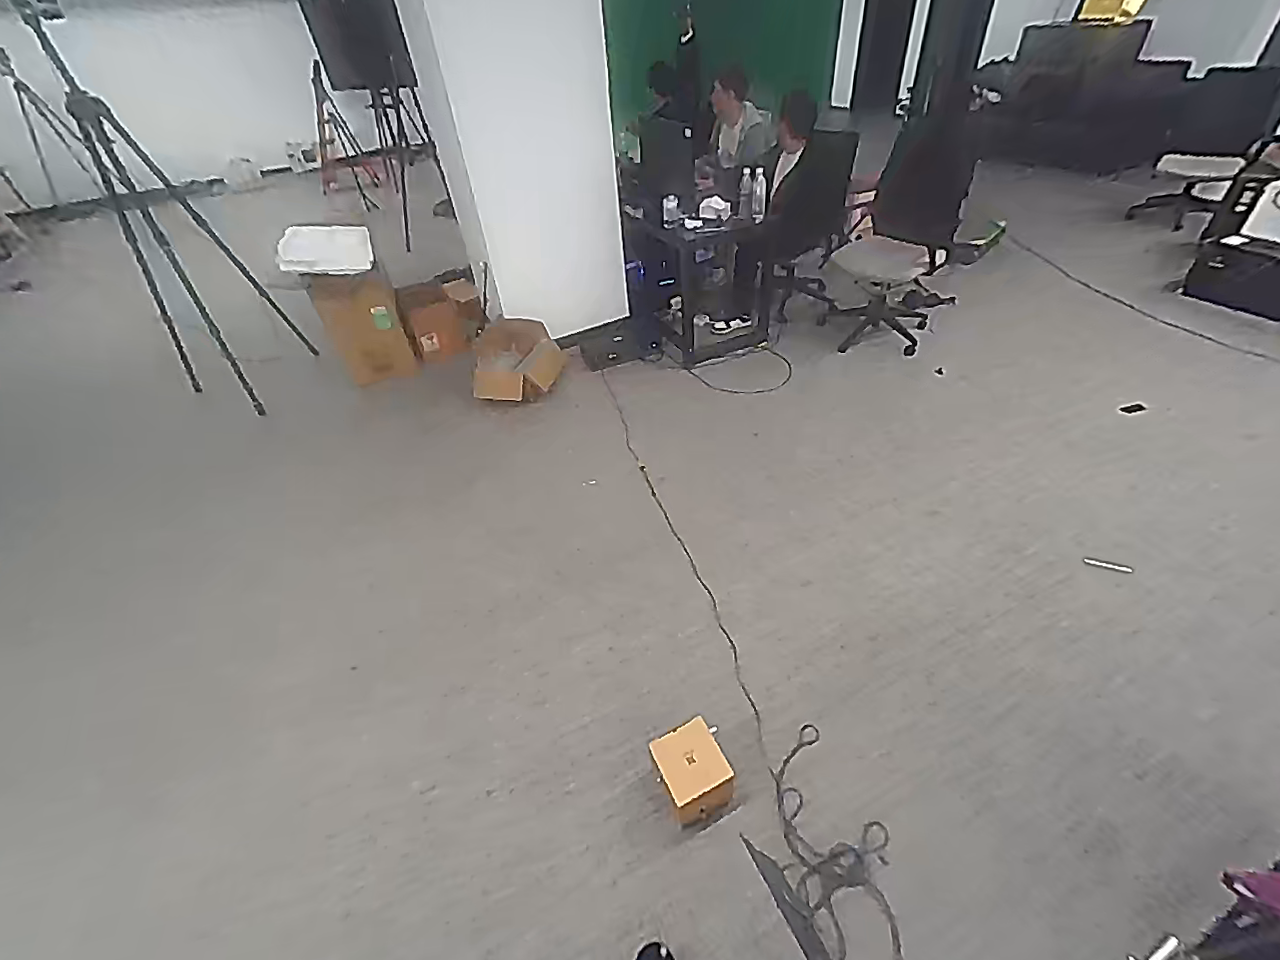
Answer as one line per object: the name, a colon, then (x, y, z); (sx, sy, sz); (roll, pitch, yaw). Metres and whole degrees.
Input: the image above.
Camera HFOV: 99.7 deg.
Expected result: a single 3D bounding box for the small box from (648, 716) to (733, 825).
small box: (0.133, 0.783, 1.454); (0.168, 0.176, 0.179); (-21, 44, -15)
